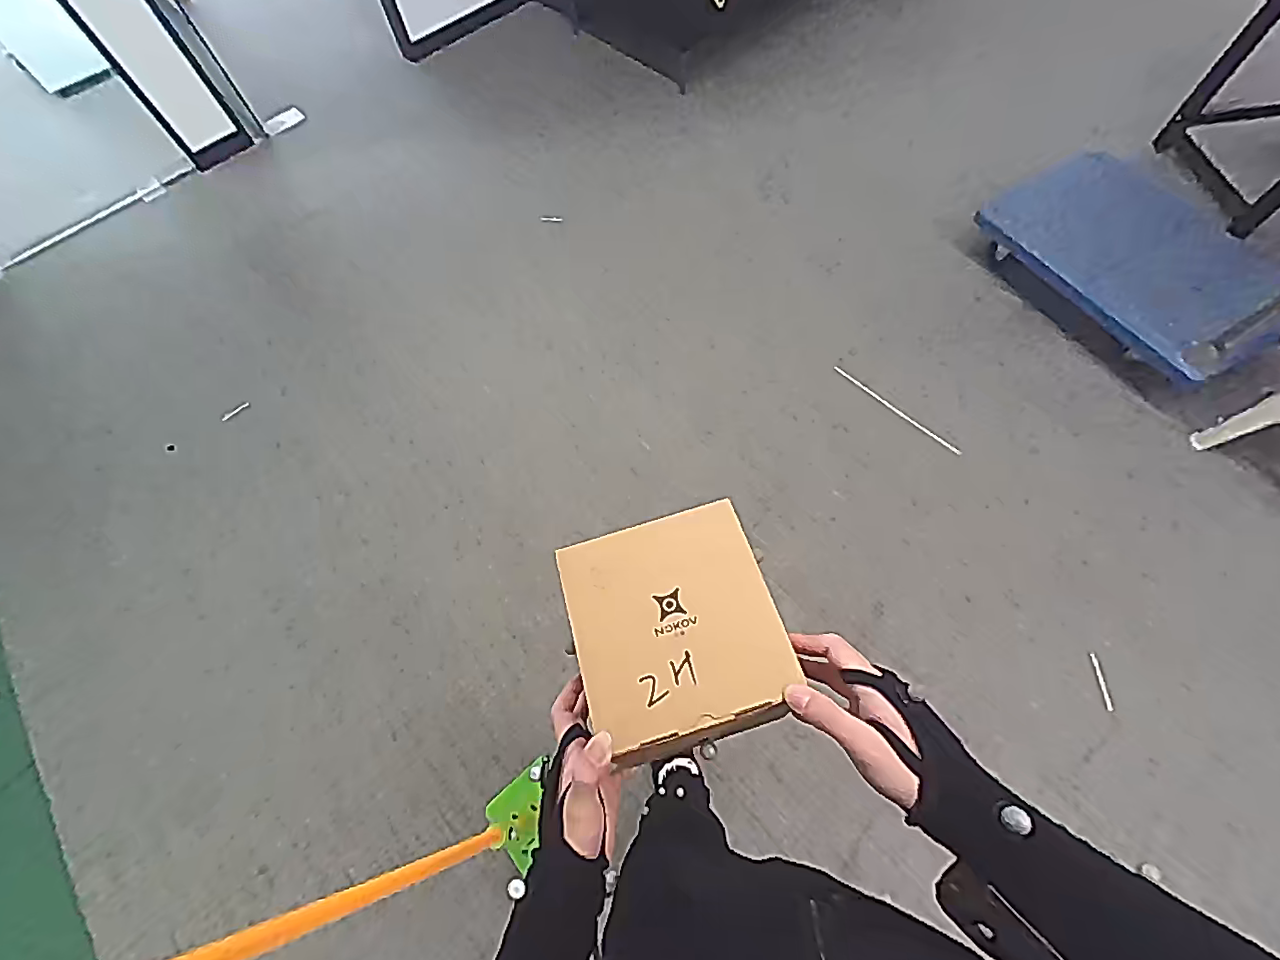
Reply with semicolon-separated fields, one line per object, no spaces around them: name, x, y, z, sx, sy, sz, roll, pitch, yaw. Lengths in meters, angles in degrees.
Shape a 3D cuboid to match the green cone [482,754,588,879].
green cone;-0.263;0.732;1.146;0.200;0.368;0.202;-39;69;-14
